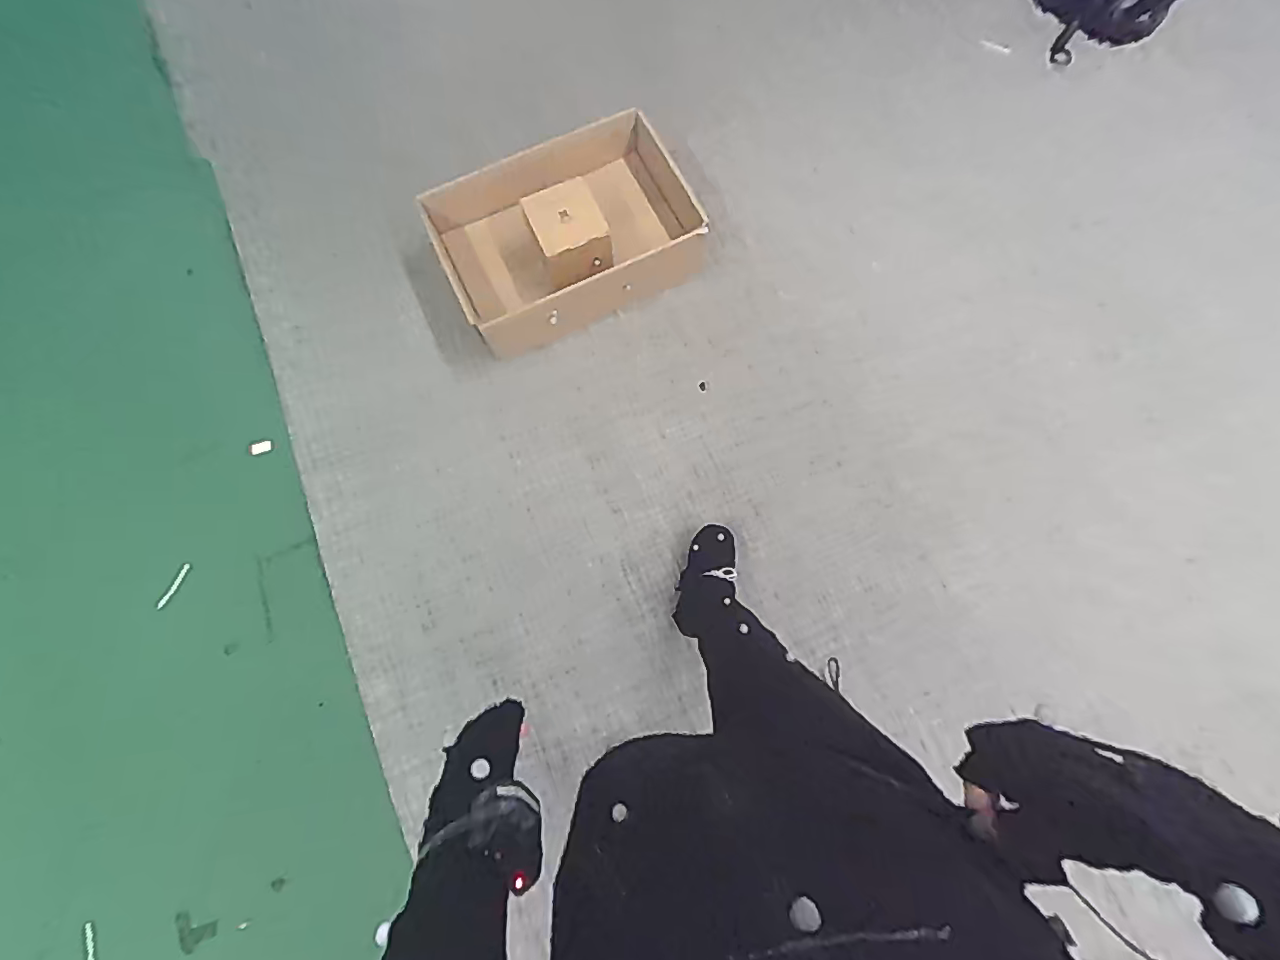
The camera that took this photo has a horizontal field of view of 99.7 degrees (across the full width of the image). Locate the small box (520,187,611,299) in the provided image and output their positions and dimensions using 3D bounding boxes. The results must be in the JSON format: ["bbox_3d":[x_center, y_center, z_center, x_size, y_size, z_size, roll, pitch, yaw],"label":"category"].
[{"bbox_3d":[-0.179,-0.581,1.355,0.168,0.176,0.179,-24,76,-7],"label":"small box"}]
